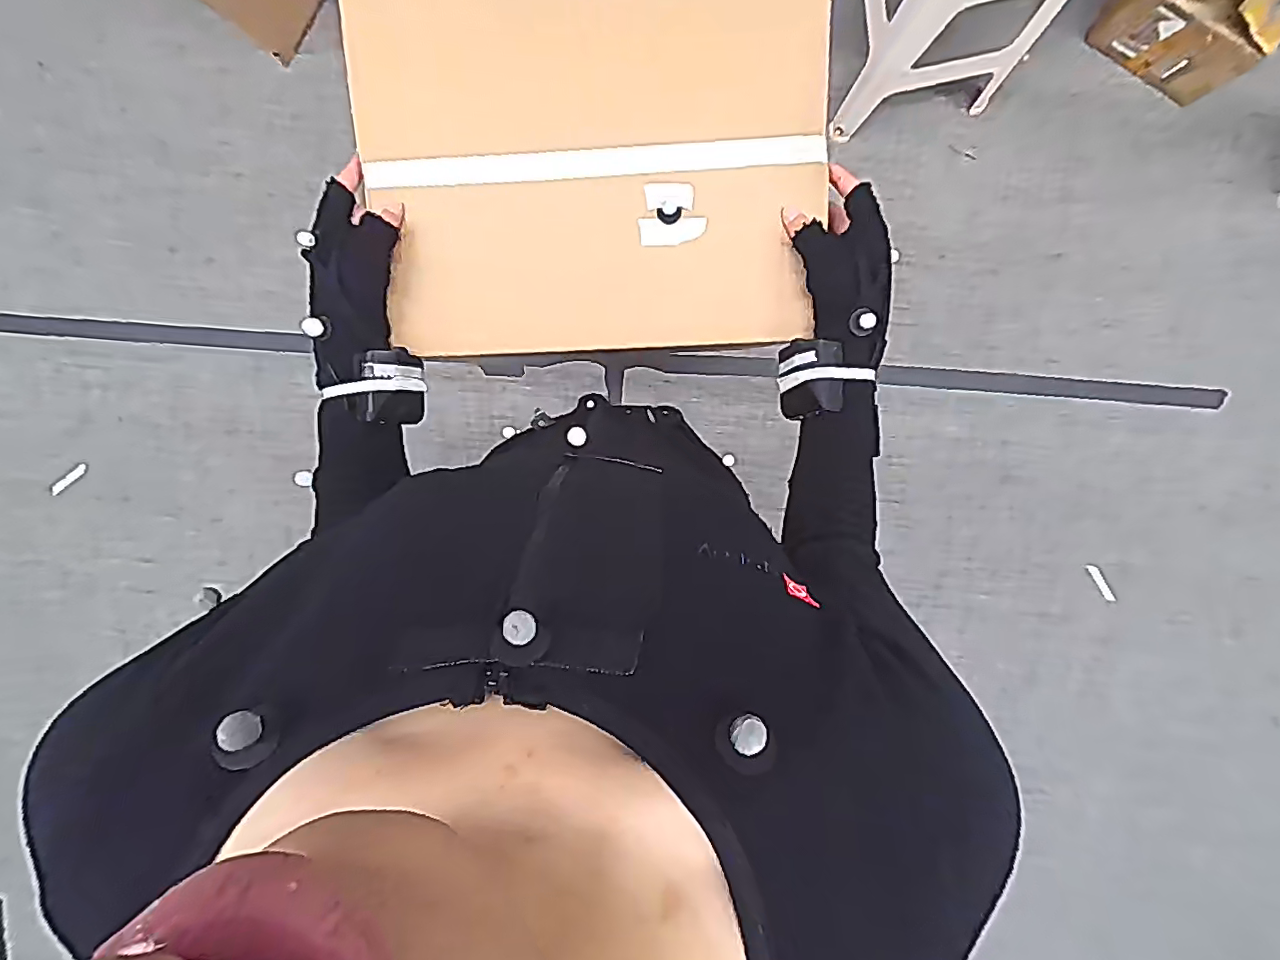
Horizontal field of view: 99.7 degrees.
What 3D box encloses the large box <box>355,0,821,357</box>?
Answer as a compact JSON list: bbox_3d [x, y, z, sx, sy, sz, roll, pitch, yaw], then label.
[{"bbox_3d":[-0.039,-0.315,0.630,0.408,0.320,0.320,-2,102,1],"label":"large box"}]
